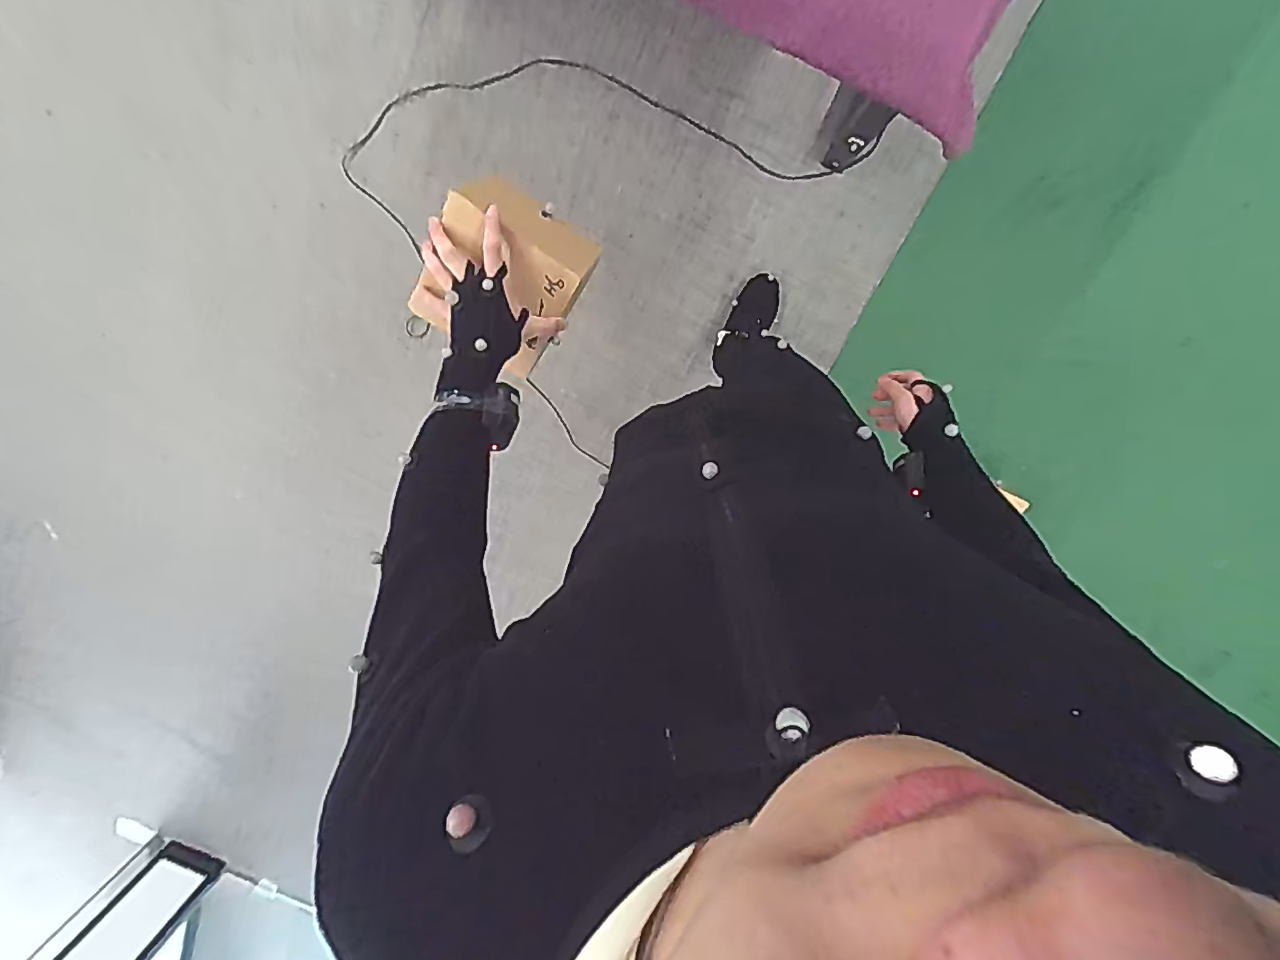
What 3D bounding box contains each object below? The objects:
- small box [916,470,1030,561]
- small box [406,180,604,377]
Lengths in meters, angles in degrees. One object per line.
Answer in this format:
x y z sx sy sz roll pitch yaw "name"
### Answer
0.898 0.088 1.481 0.179 0.176 0.168 26 109 -2 "small box"
-0.172 -0.276 0.728 0.179 0.176 0.168 33 124 -13 "small box"
